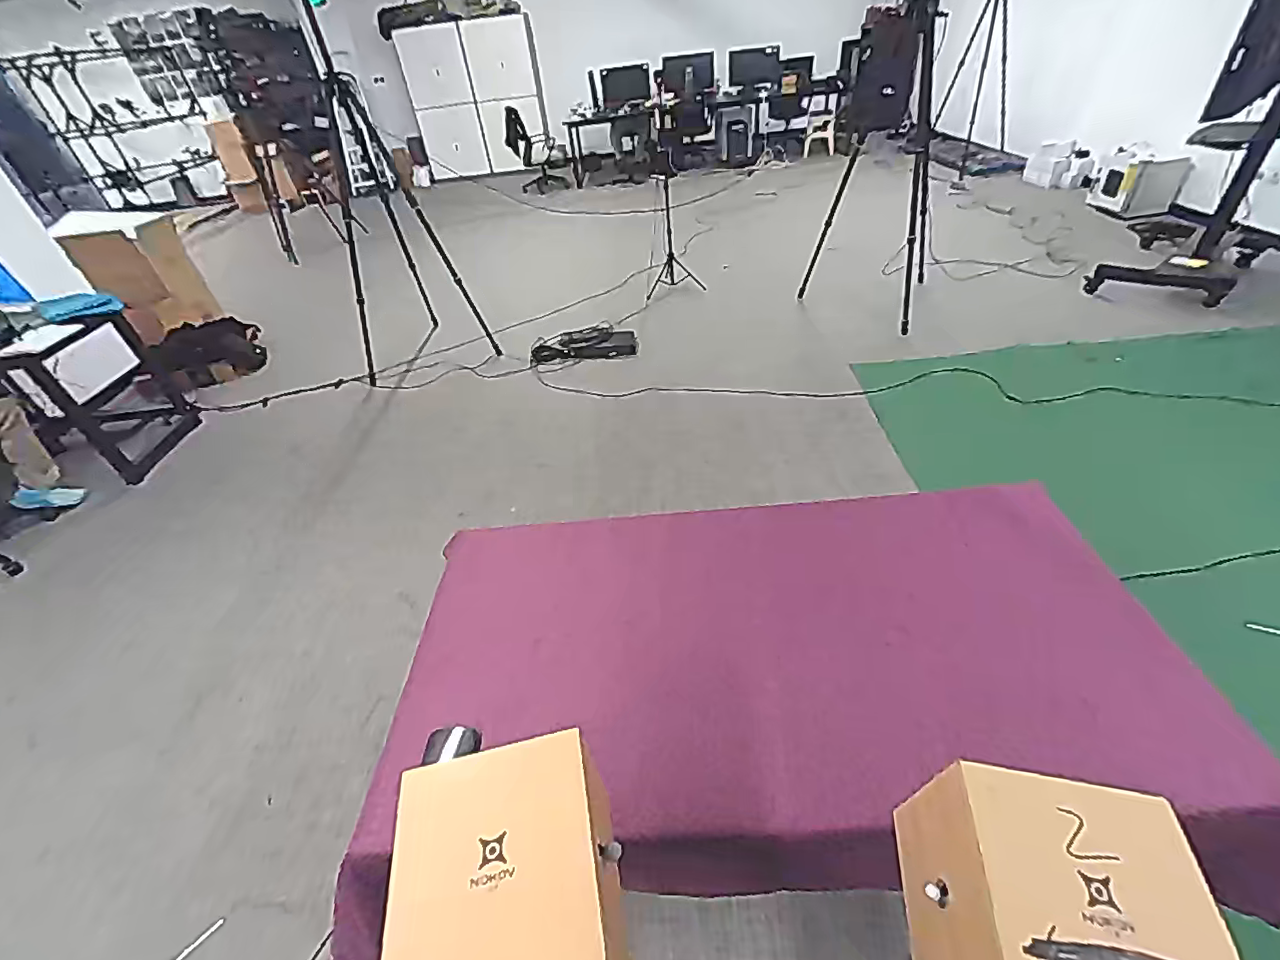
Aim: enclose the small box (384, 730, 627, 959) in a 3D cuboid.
[{"bbox_3d":[-0.112,0.367,0.498,0.168,0.176,0.179,-12,43,-5],"label":"small box"}]
